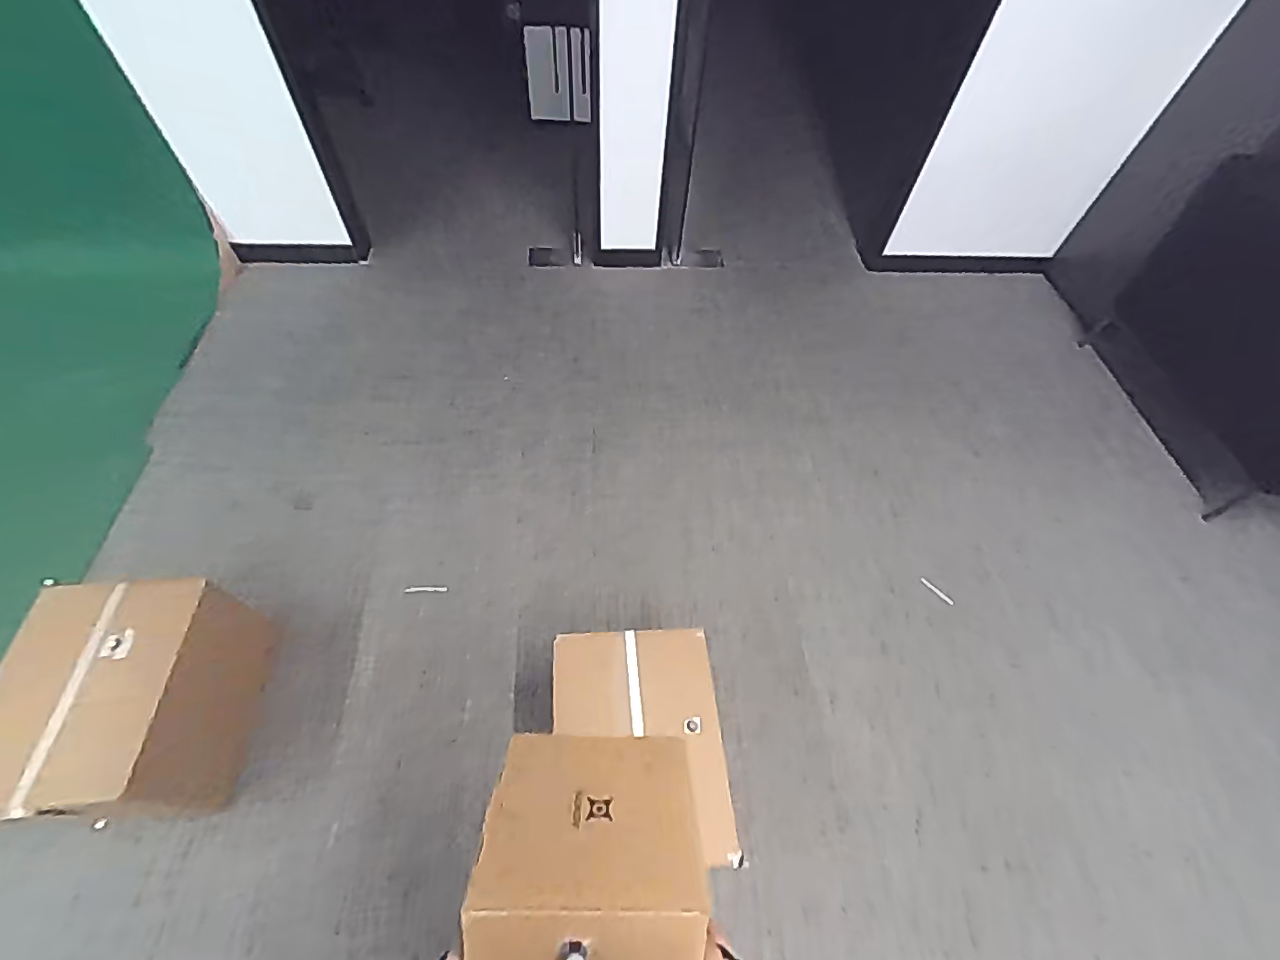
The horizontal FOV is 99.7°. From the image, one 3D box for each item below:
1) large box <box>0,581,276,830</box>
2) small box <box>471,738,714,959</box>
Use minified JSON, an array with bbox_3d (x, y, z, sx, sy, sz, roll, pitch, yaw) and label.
[{"bbox_3d":[-1.034,0.463,1.111,0.320,0.320,0.408,-2,55,-5],"label":"large box"},{"bbox_3d":[-0.038,0.361,0.483,0.179,0.176,0.168,1,16,-2],"label":"small box"}]
